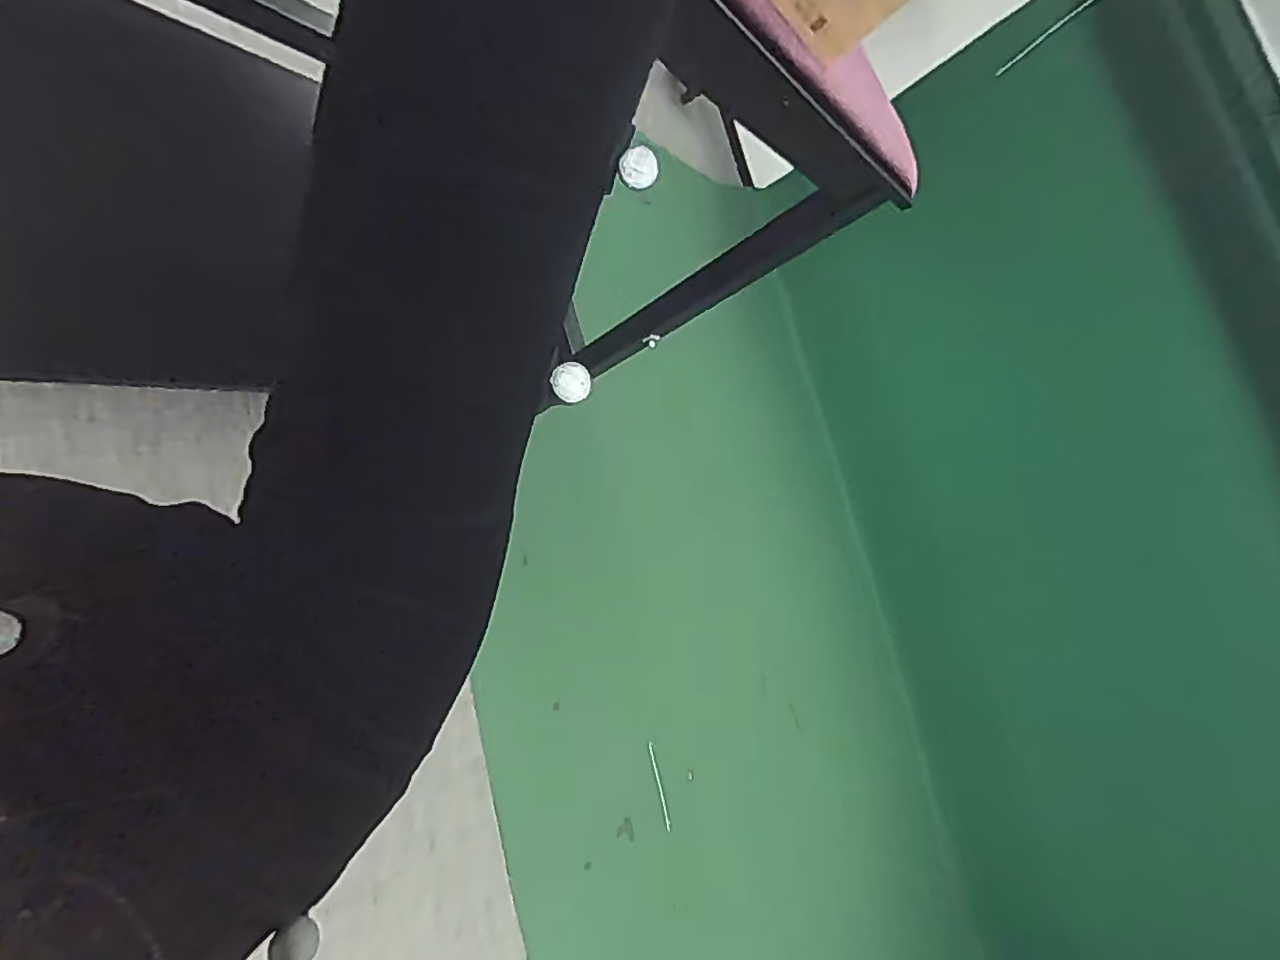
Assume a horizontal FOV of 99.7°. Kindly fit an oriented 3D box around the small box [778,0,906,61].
[{"bbox_3d":[0.182,-0.527,0.467,0.168,0.176,0.179,-5,79,-49],"label":"small box"}]
